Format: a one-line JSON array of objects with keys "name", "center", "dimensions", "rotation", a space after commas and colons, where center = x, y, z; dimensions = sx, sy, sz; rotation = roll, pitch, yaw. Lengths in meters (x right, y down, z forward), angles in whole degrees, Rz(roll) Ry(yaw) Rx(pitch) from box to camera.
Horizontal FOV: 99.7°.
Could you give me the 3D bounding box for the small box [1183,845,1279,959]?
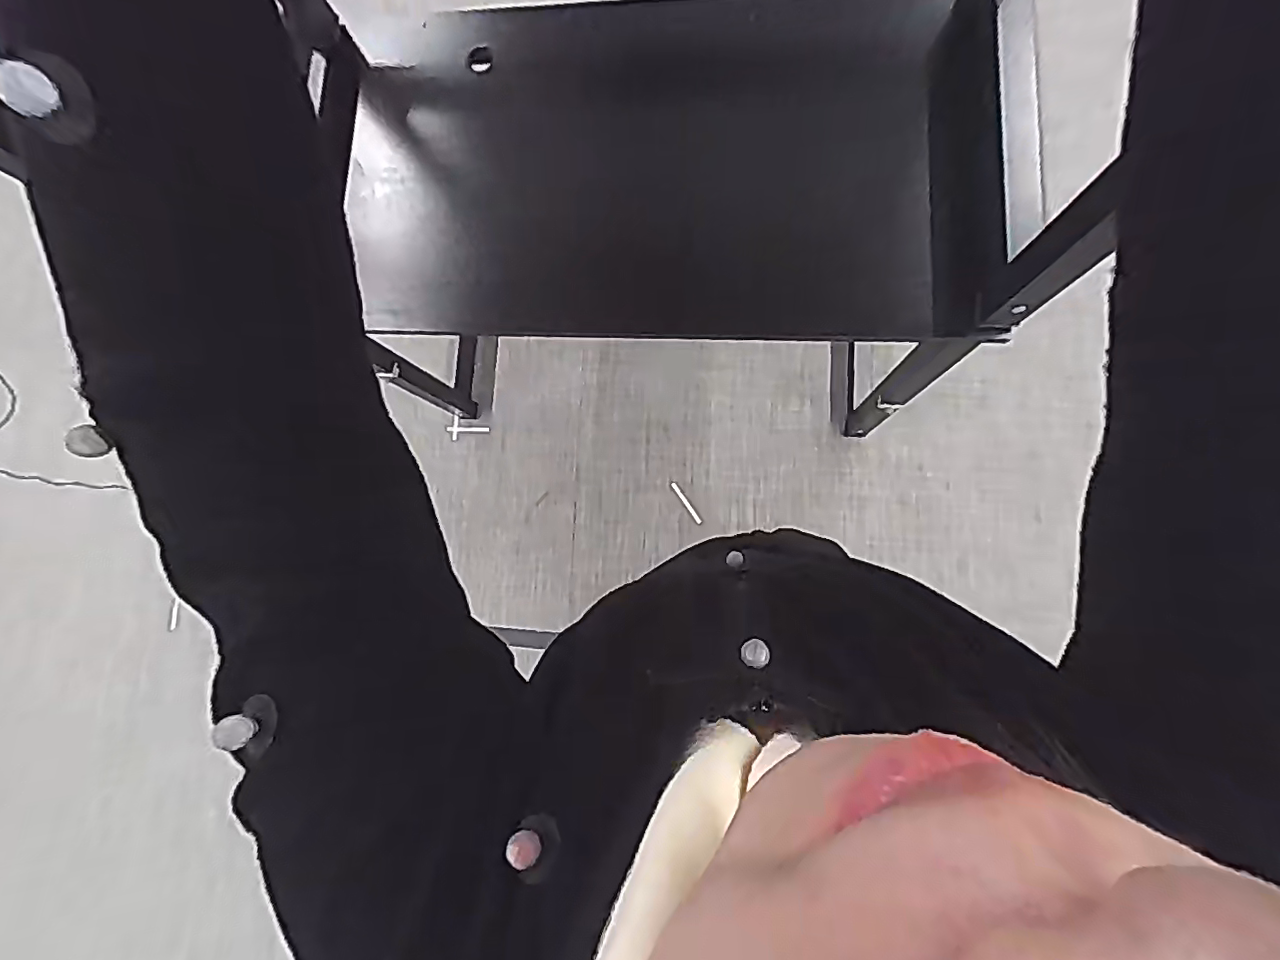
[{"name": "small box", "center": [1.339, 0.929, 1.169], "dimensions": [0.179, 0.176, 0.168], "rotation": [8, 84, 8]}]
